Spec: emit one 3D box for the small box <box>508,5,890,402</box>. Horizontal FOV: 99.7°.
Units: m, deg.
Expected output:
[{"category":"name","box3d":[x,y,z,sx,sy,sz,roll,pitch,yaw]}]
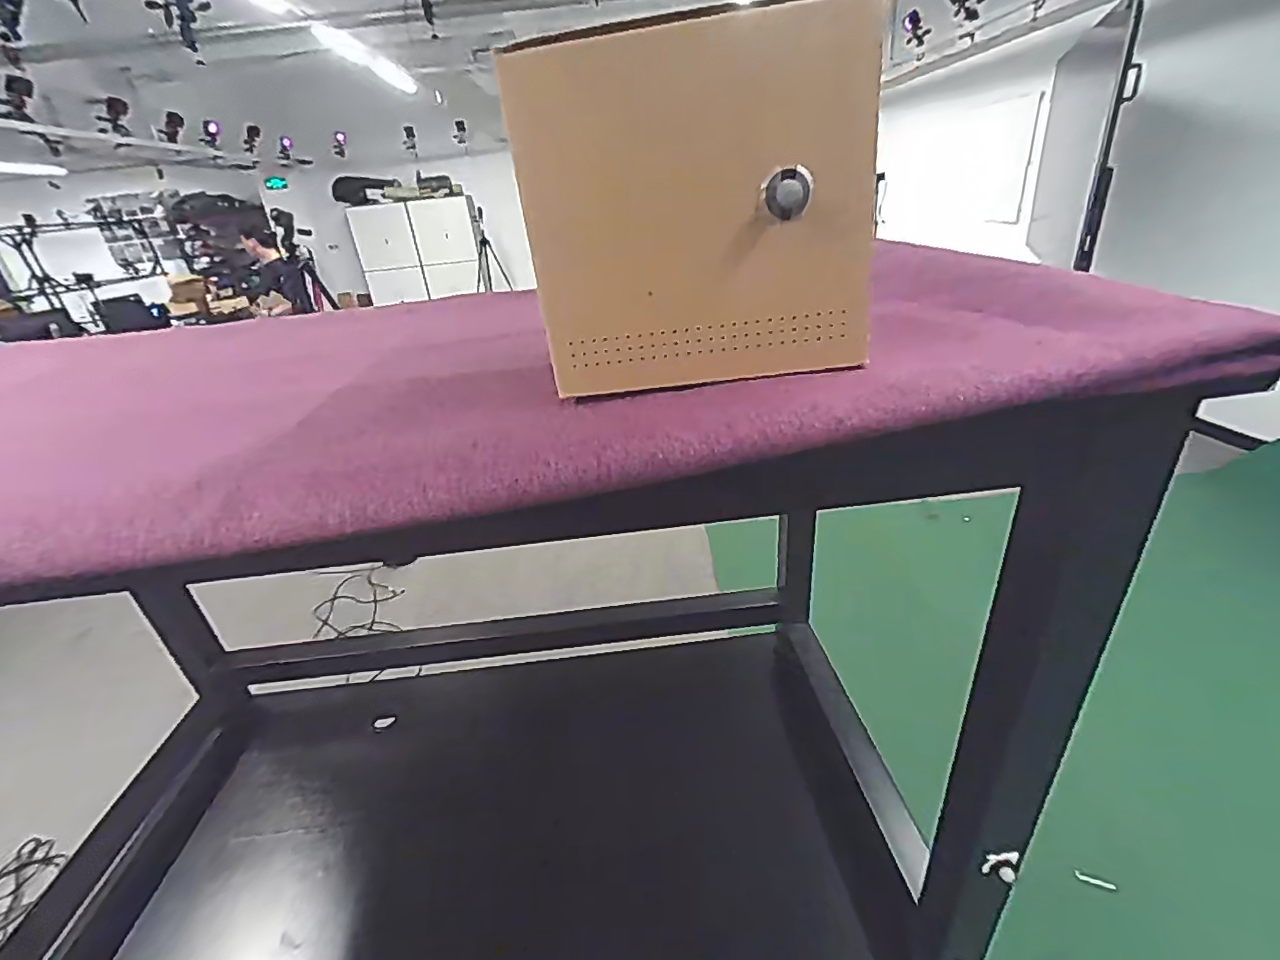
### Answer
[{"category":"small box","box3d":[0.037,-0.158,0.348,0.179,0.176,0.168,-6,24,5]}]
